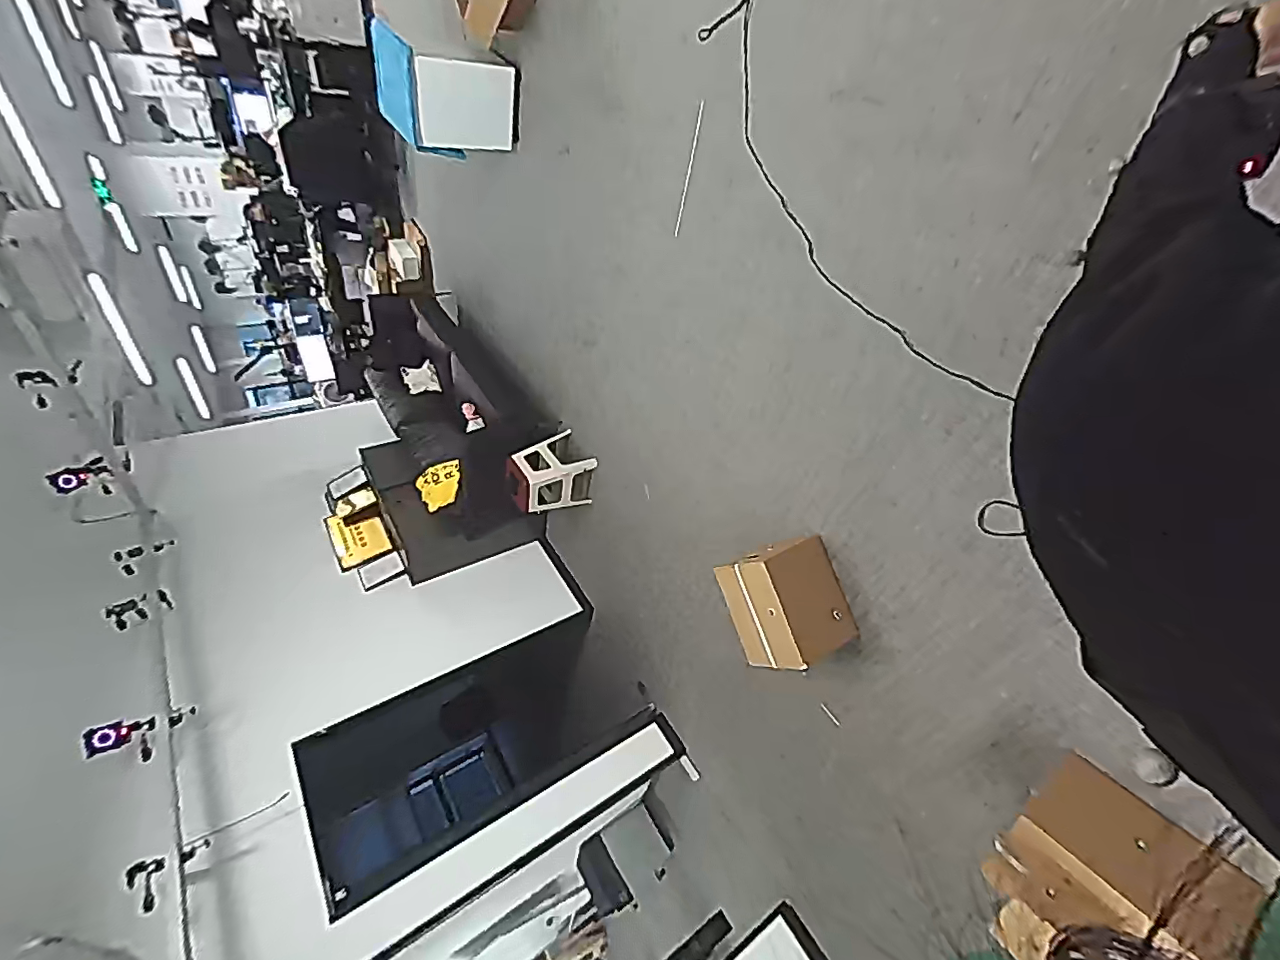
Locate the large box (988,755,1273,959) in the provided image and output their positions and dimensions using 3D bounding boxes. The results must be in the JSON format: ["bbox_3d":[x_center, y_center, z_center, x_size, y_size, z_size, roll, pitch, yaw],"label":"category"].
[{"bbox_3d":[1.199,1.006,1.359,0.408,0.320,0.320,36,135,43],"label":"large box"}]

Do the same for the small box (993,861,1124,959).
[{"bbox_3d":[0.974,1.041,1.257,0.168,0.176,0.179,39,135,44],"label":"small box"}]
